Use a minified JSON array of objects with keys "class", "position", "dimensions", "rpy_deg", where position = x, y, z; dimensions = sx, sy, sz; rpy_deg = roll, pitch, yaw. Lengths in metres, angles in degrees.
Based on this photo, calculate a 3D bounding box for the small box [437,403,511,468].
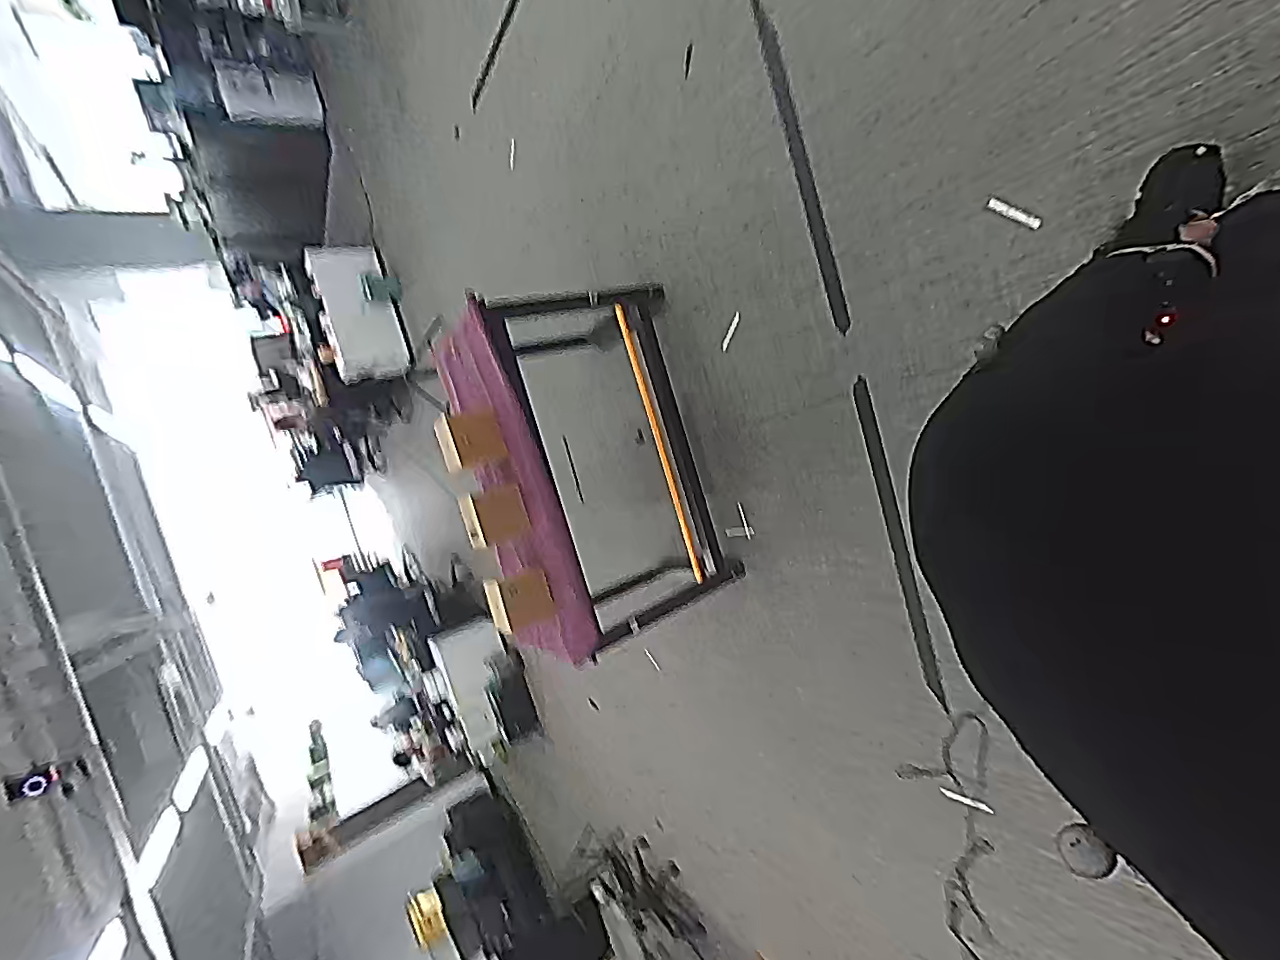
[{"class":"small box","position":[-0.565,-0.155,1.839],"dimensions":[0.168,0.176,0.179],"rpy_deg":[-16,93,57]}]

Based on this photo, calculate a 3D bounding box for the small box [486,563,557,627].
[{"class":"small box","position":[-0.409,0.391,1.875],"dimensions":[0.168,0.176,0.179],"rpy_deg":[-16,89,58]}]
